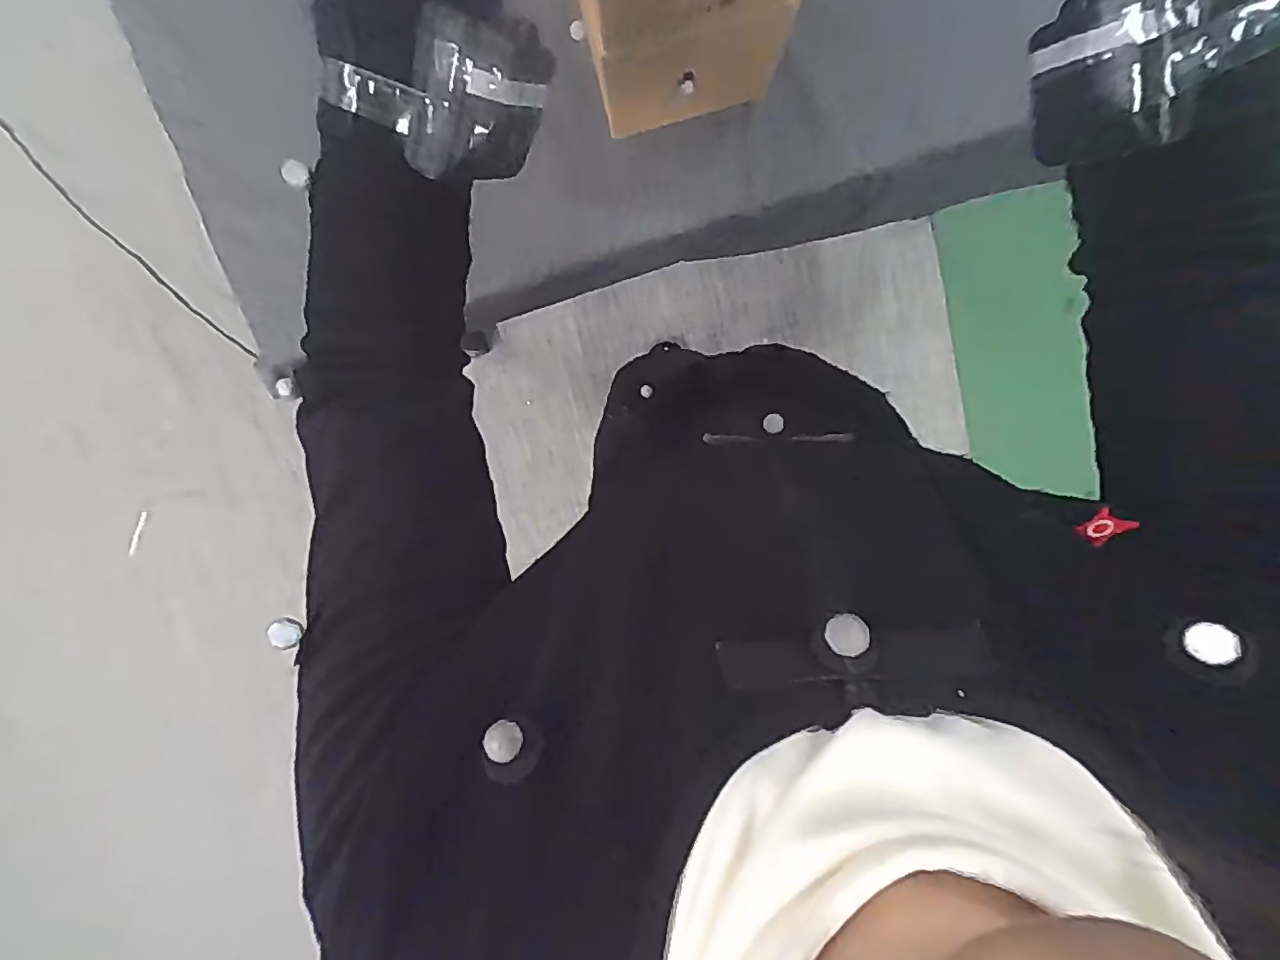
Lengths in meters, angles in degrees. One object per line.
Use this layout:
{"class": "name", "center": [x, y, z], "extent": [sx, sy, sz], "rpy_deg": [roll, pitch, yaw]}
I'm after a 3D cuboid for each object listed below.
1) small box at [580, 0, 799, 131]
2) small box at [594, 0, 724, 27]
{"class": "small box", "center": [0.032, -0.468, 0.509], "extent": [0.179, 0.176, 0.168], "rpy_deg": [-14, 101, 5]}
{"class": "small box", "center": [0.025, -0.443, 0.348], "extent": [0.168, 0.176, 0.179], "rpy_deg": [-15, 101, 5]}
